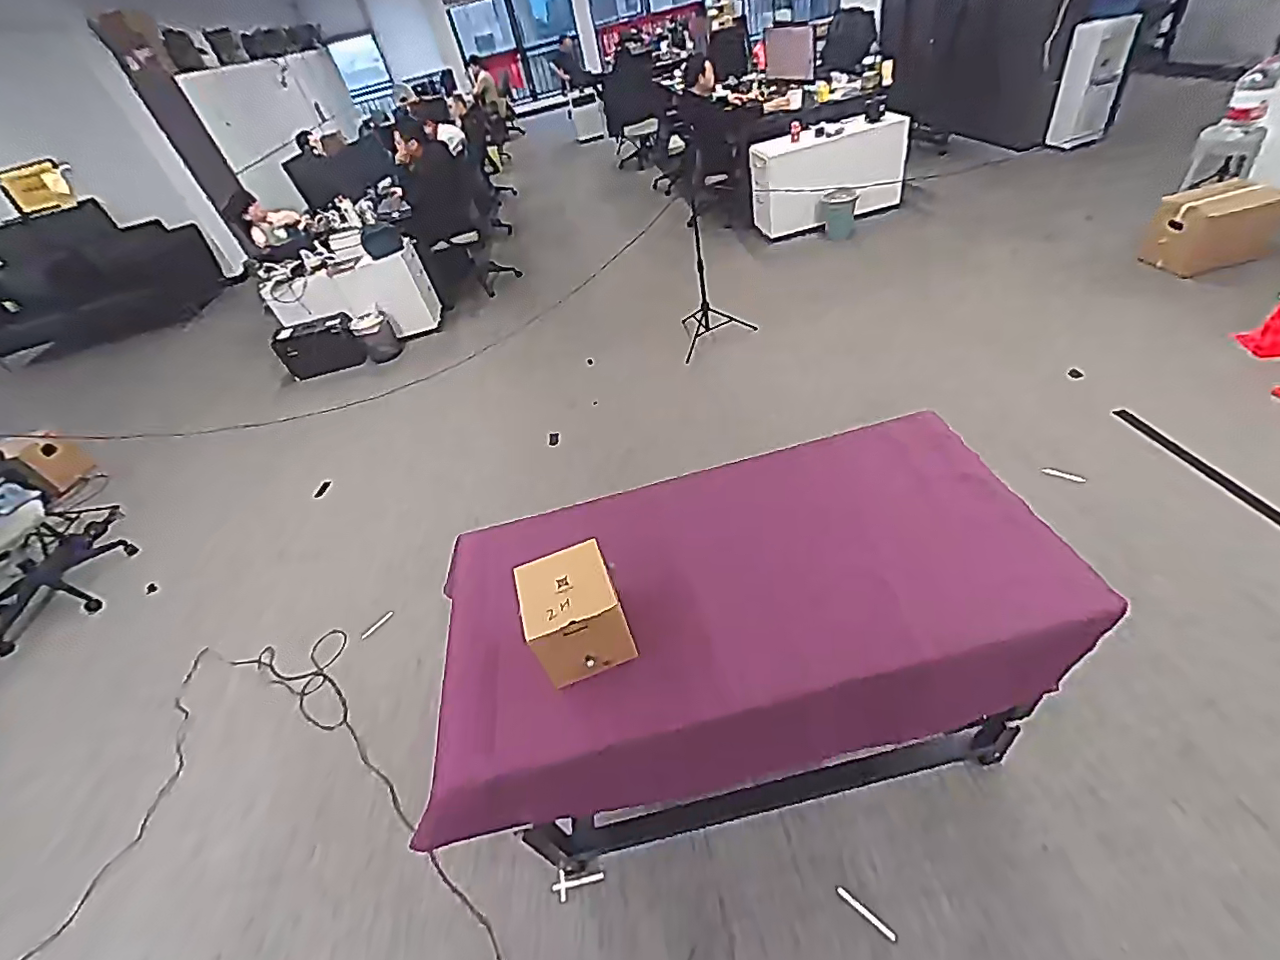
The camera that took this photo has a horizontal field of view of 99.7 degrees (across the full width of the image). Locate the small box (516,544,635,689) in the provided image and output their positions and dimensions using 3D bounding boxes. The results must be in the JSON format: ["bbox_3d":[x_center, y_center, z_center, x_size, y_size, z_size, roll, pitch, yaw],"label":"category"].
[{"bbox_3d":[-0.121,0.258,1.026,0.168,0.176,0.179,-21,42,-5],"label":"small box"}]
